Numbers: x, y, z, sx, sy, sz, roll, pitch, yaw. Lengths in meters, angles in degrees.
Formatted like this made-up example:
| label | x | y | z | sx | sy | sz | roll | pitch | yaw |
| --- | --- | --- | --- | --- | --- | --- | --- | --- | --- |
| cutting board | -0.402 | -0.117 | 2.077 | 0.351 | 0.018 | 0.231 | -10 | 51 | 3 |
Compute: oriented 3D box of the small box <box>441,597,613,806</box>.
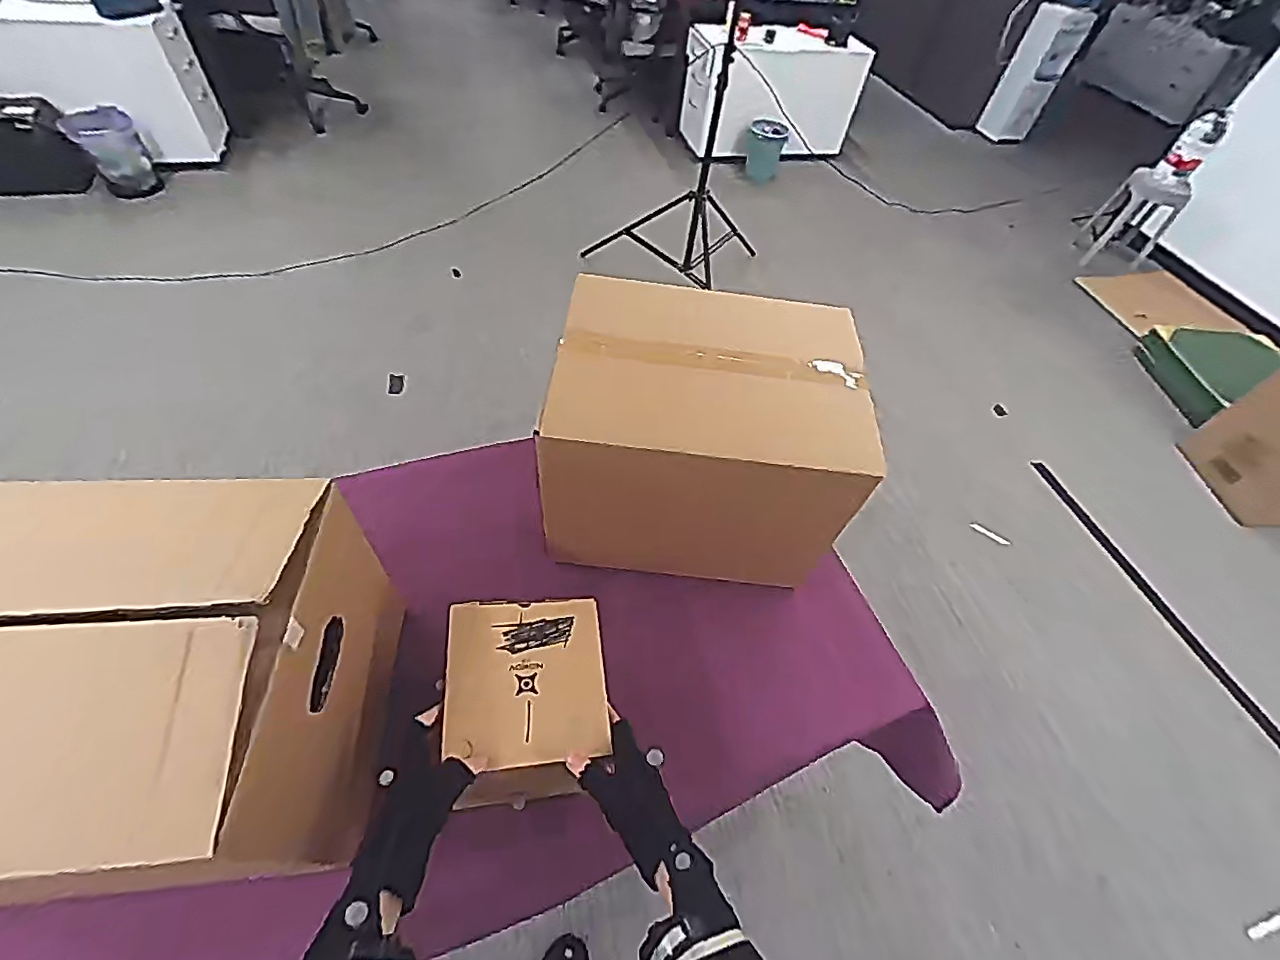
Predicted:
| label | x | y | z | sx | sy | sz | roll | pitch | yaw |
| --- | --- | --- | --- | --- | --- | --- | --- | --- | --- |
| small box | -0.134 | 0.253 | 0.624 | 0.168 | 0.176 | 0.179 | 1 | 50 | -15 |
